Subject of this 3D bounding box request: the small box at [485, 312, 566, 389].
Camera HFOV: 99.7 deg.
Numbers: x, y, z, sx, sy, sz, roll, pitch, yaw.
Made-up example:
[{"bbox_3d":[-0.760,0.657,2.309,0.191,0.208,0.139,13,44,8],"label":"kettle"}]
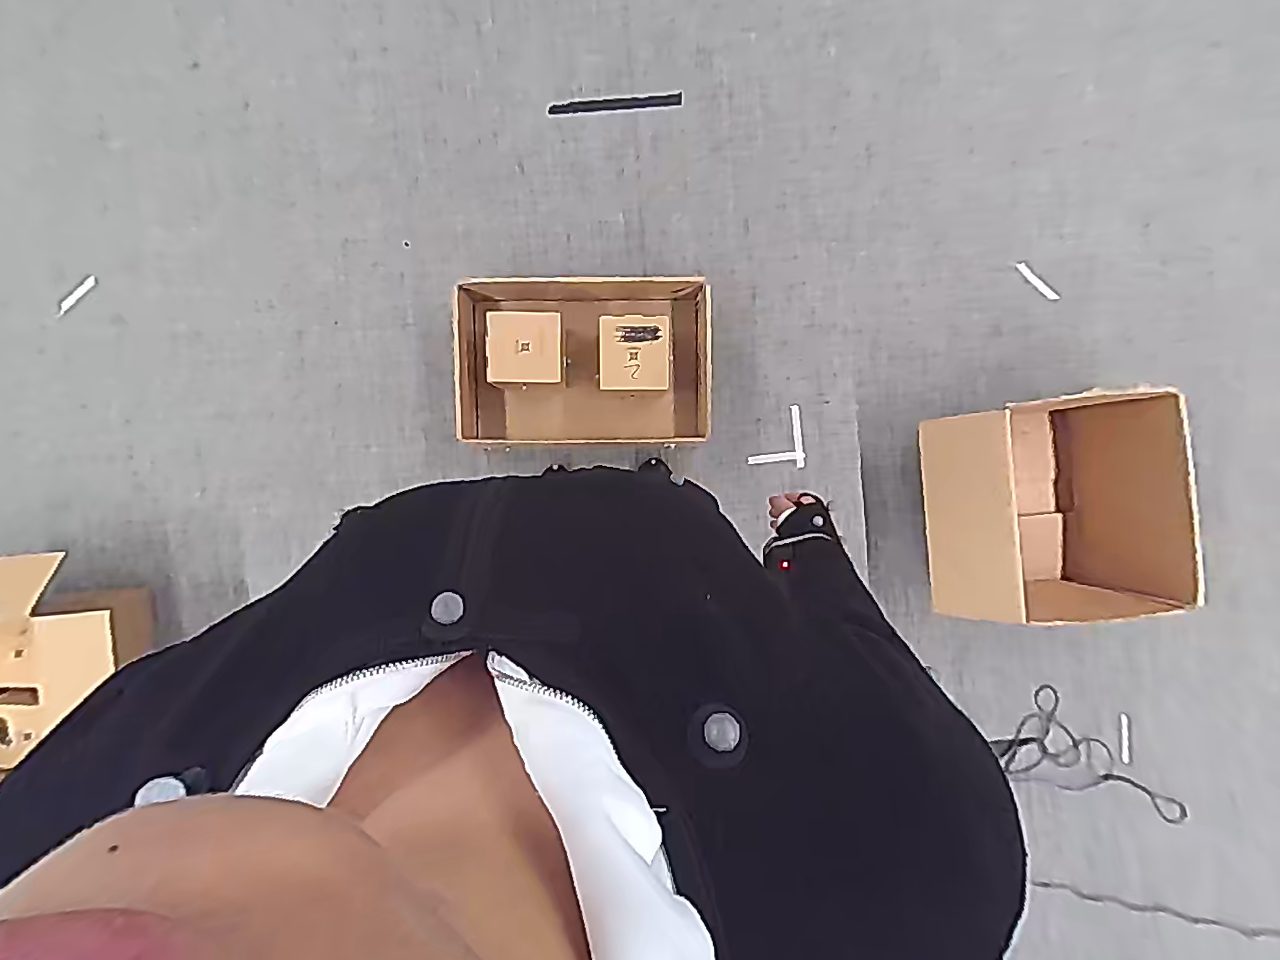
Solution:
[{"bbox_3d":[-0.282,-0.320,1.359,0.179,0.176,0.168,0,94,-3],"label":"small box"}]
